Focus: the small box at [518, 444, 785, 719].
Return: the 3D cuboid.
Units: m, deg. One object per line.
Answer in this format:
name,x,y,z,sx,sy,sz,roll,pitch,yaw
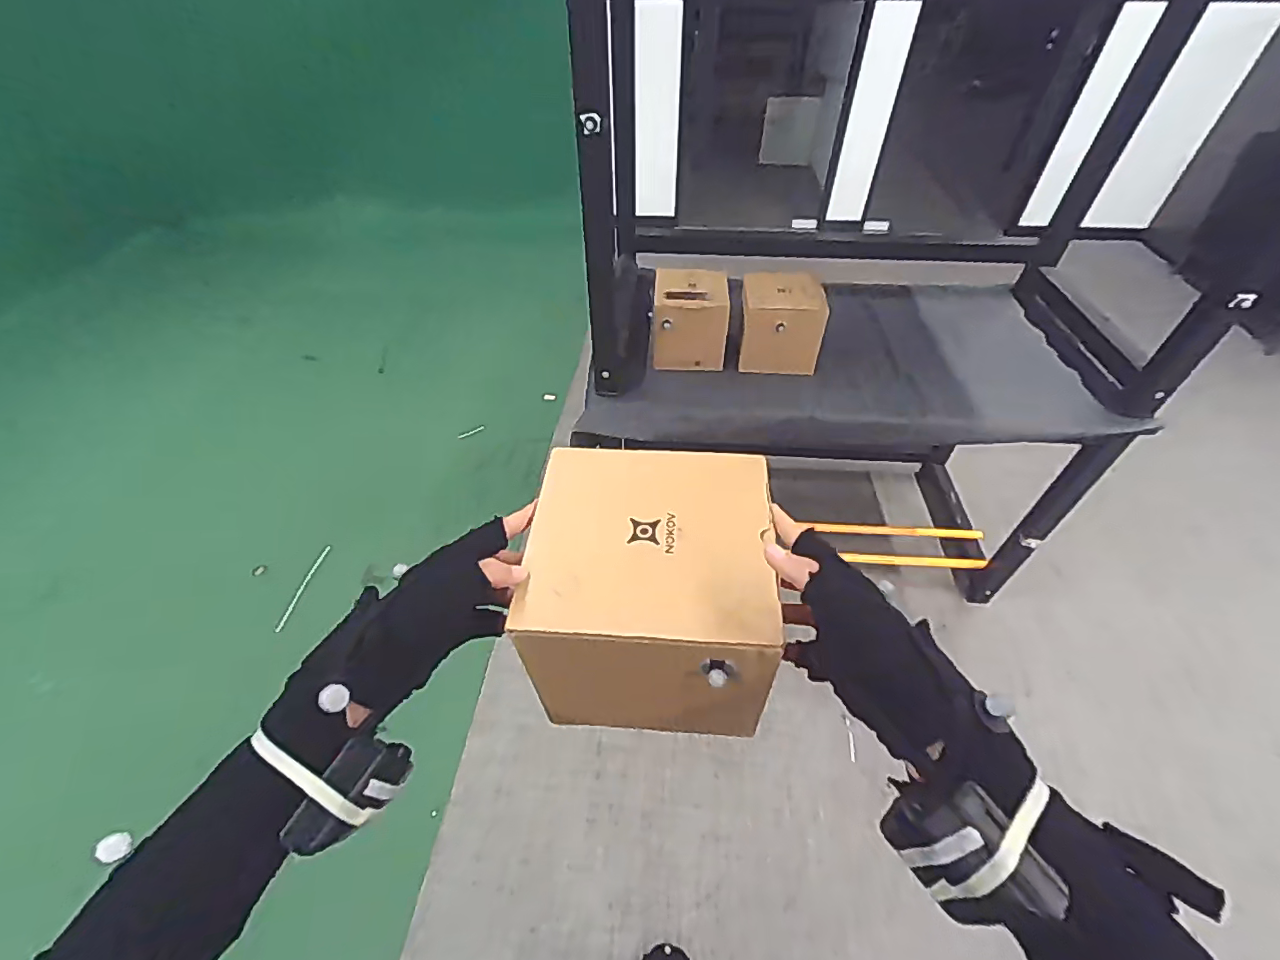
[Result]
small box,0.013,0.088,0.456,0.179,0.176,0.168,3,48,3
